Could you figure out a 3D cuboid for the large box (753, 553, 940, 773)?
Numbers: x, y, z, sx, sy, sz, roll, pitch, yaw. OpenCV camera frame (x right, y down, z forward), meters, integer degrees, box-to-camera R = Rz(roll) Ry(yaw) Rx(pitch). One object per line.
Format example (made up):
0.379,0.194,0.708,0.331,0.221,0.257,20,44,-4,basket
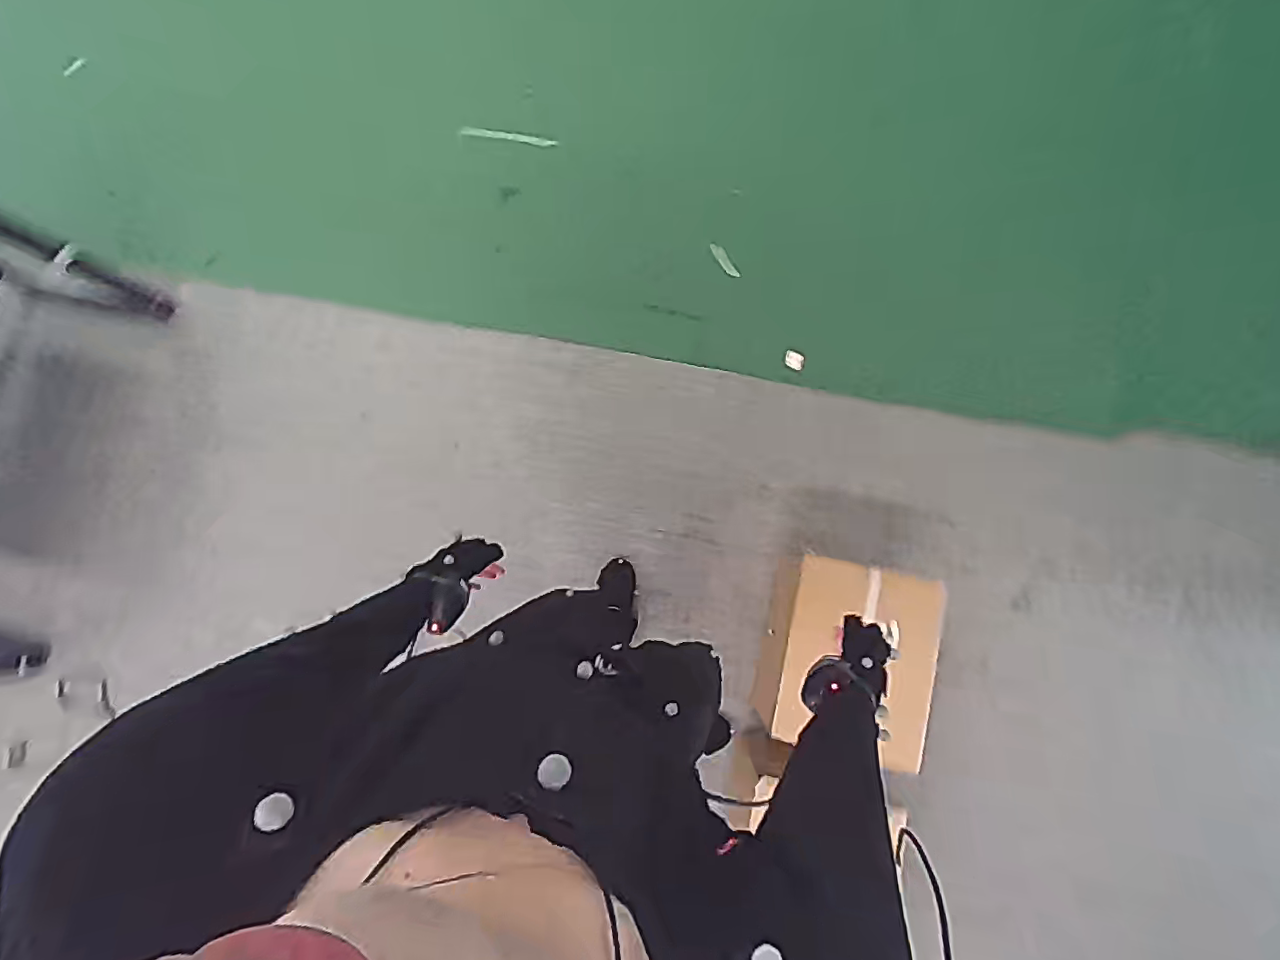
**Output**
0.474,0.413,1.305,0.320,0.320,0.408,13,80,5,large box
